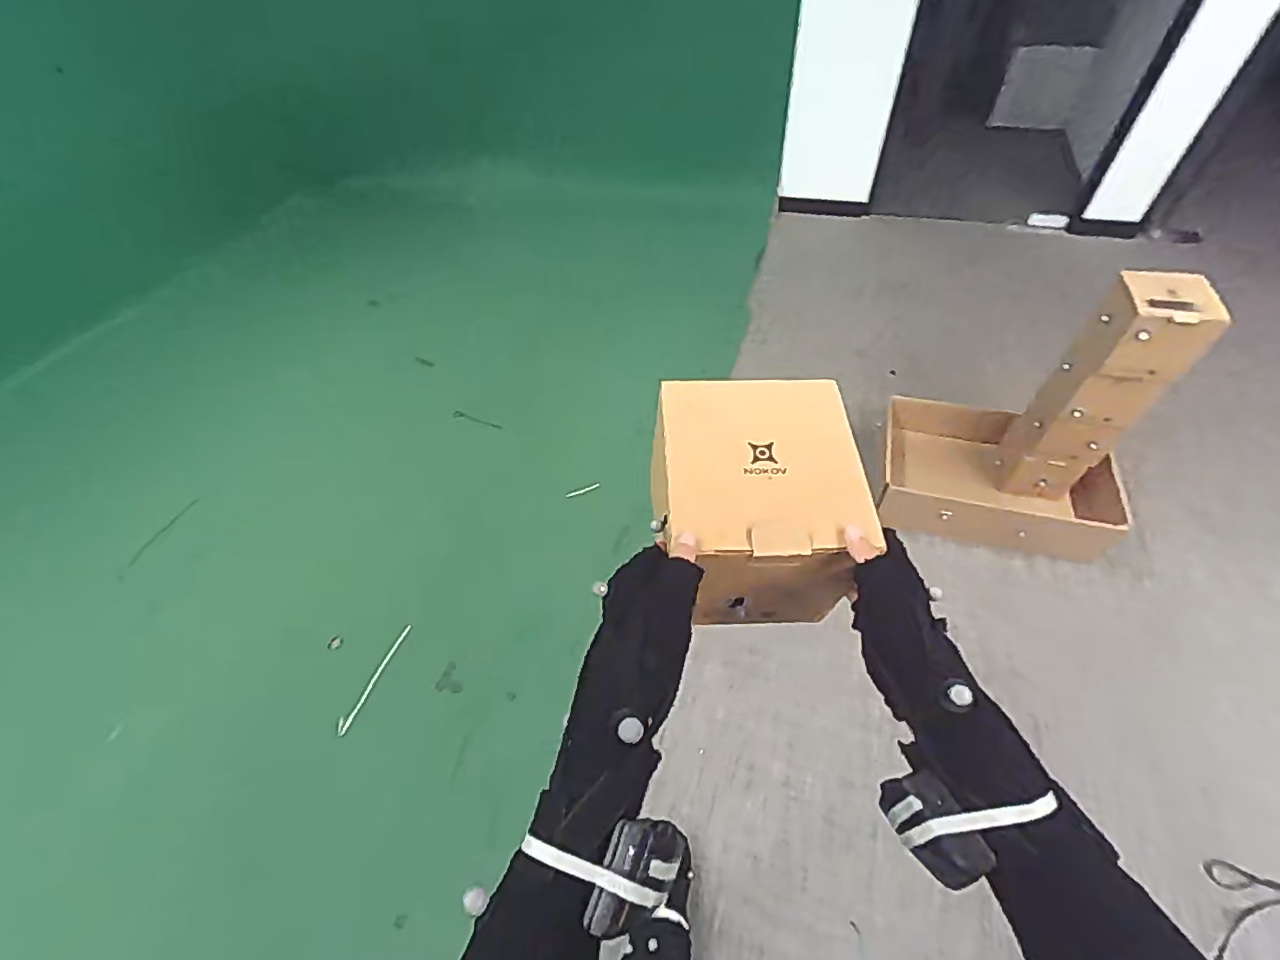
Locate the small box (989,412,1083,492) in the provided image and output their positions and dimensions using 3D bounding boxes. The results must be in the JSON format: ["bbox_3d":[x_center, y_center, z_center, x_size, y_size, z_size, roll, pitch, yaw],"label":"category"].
[{"bbox_3d":[1.197,-0.083,1.648,0.168,0.176,0.179,6,52,12],"label":"small box"}]

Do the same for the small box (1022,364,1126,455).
[{"bbox_3d":[1.196,-0.193,1.503,0.168,0.176,0.179,11,54,14],"label":"small box"}]

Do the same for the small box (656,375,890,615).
[{"bbox_3d":[0.105,0.019,0.522,0.168,0.176,0.179,-1,59,-3],"label":"small box"}]

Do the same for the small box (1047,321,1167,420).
[{"bbox_3d":[1.180,-0.278,1.384,0.168,0.176,0.179,12,54,14],"label":"small box"}]
